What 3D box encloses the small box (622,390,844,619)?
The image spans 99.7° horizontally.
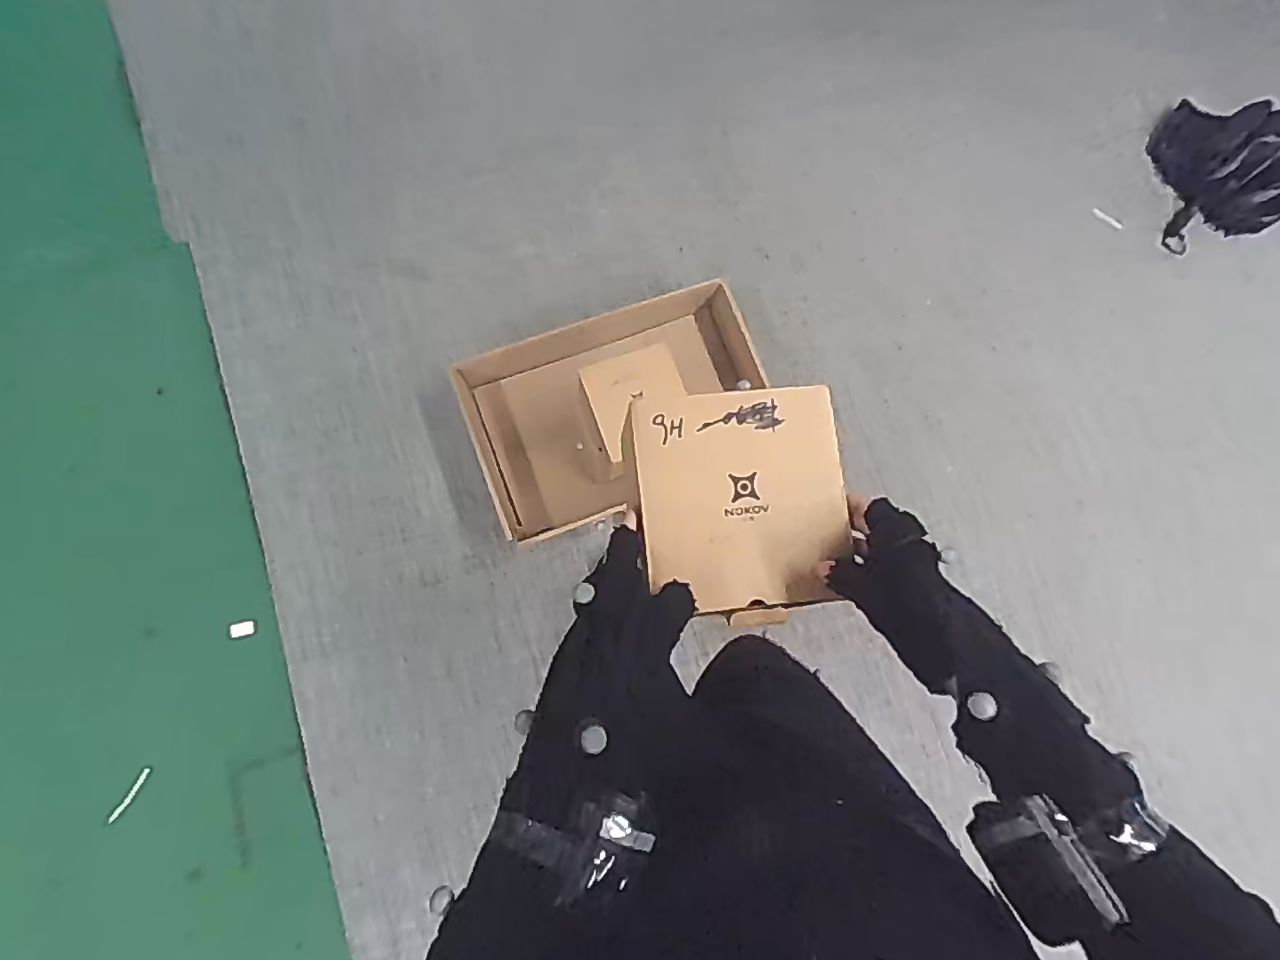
[{"bbox_3d":[0.073,0.024,0.519,0.168,0.176,0.179,-6,85,-5],"label":"small box"}]

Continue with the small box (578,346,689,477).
[{"bbox_3d":[-0.004,-0.114,0.992,0.168,0.176,0.179,-24,85,-8],"label":"small box"}]
